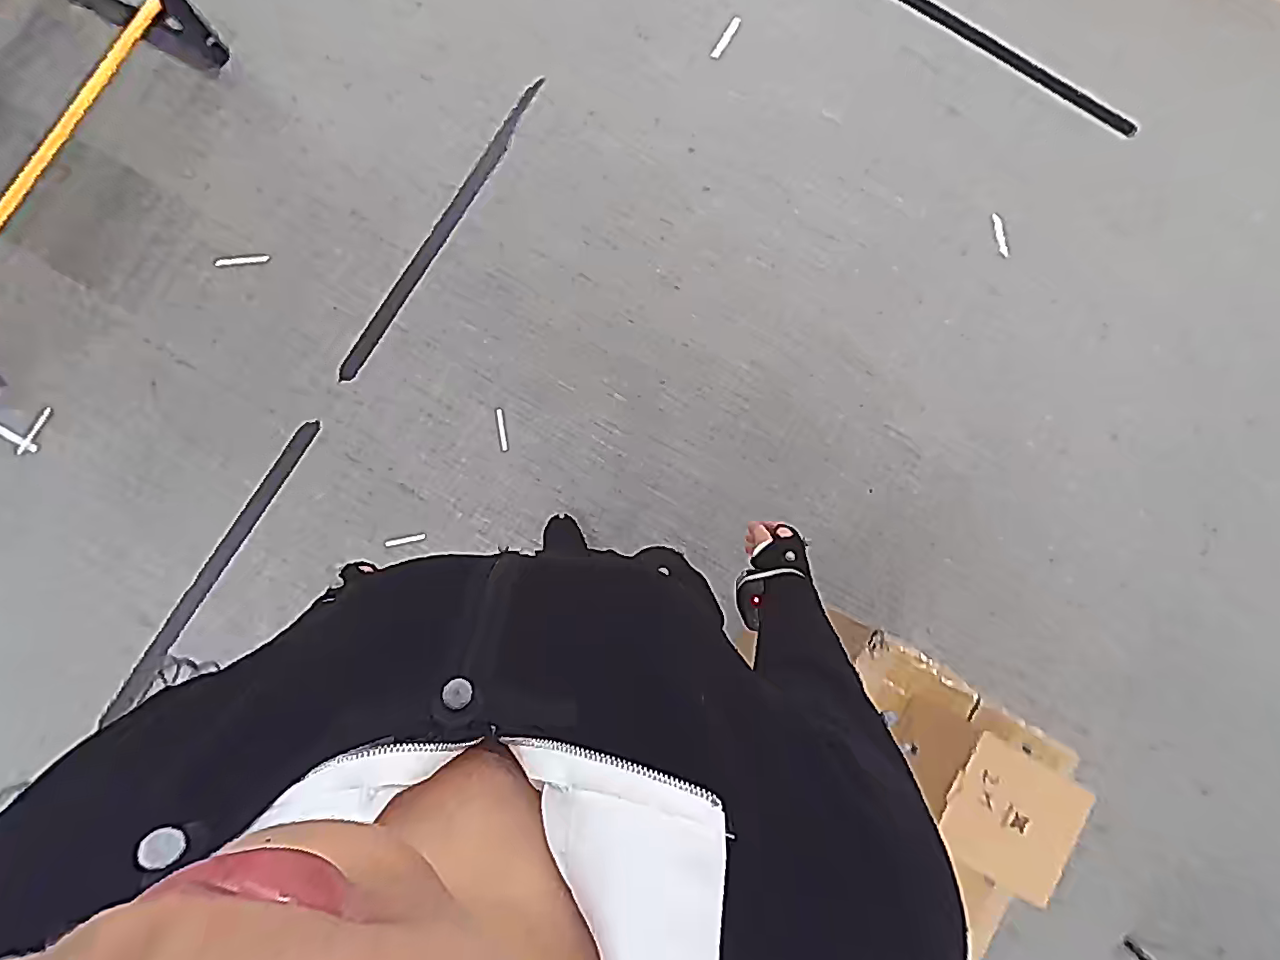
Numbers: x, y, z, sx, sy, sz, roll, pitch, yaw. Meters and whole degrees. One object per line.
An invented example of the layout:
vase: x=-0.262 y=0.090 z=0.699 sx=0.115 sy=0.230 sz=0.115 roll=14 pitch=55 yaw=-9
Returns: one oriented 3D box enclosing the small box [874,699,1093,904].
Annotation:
small box: x=0.487 y=0.451 z=0.794 sx=0.179 sy=0.176 sz=0.168 roll=30 pitch=85 yaw=1
